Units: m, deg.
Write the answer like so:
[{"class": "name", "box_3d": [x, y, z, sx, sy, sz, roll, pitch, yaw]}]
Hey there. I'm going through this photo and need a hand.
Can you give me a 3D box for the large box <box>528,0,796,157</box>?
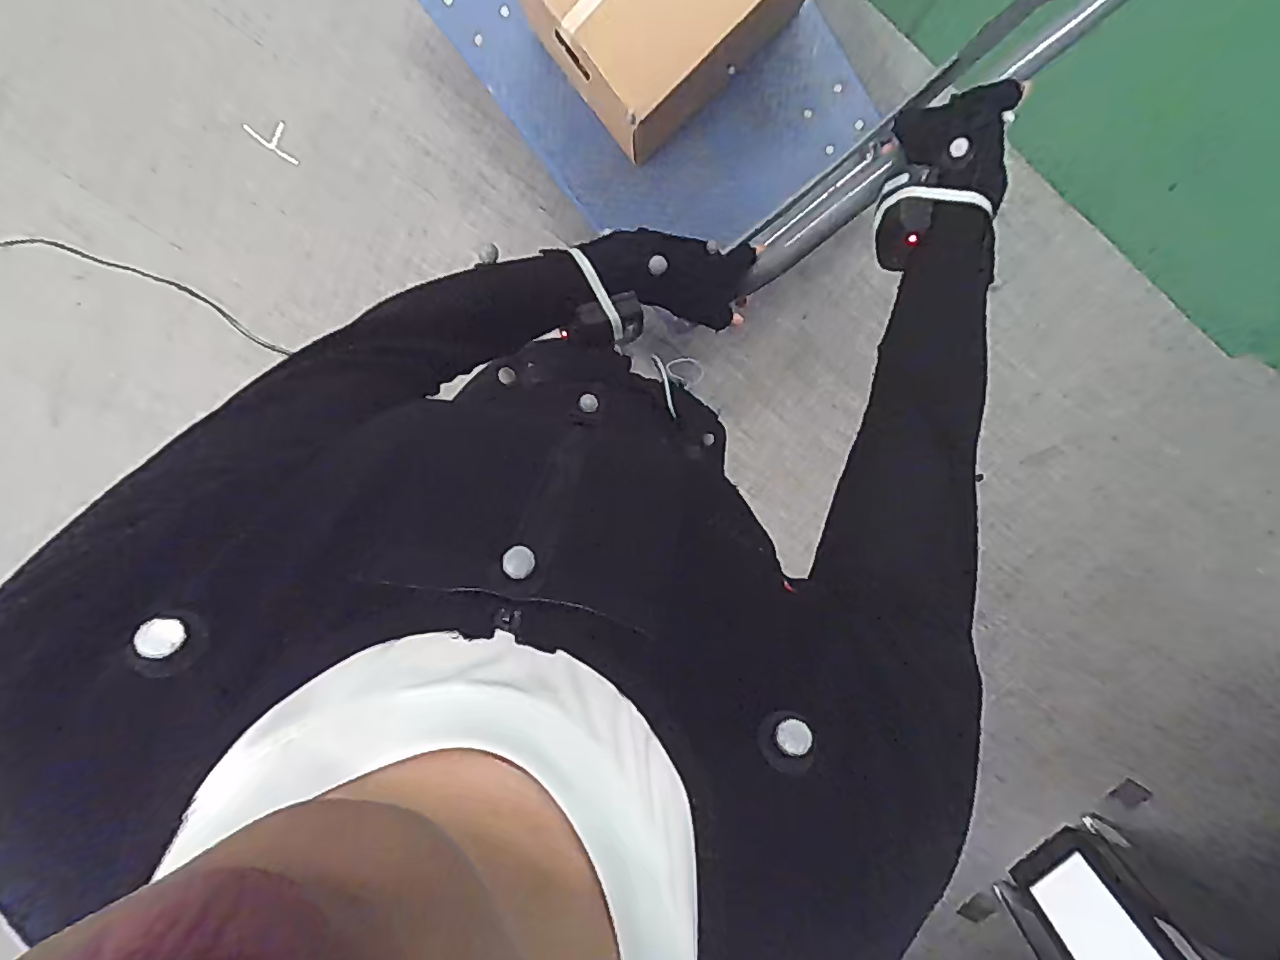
[{"class": "large box", "box_3d": [0.053, -0.833, 0.887, 0.408, 0.320, 0.320, -40, 104, 15]}]
